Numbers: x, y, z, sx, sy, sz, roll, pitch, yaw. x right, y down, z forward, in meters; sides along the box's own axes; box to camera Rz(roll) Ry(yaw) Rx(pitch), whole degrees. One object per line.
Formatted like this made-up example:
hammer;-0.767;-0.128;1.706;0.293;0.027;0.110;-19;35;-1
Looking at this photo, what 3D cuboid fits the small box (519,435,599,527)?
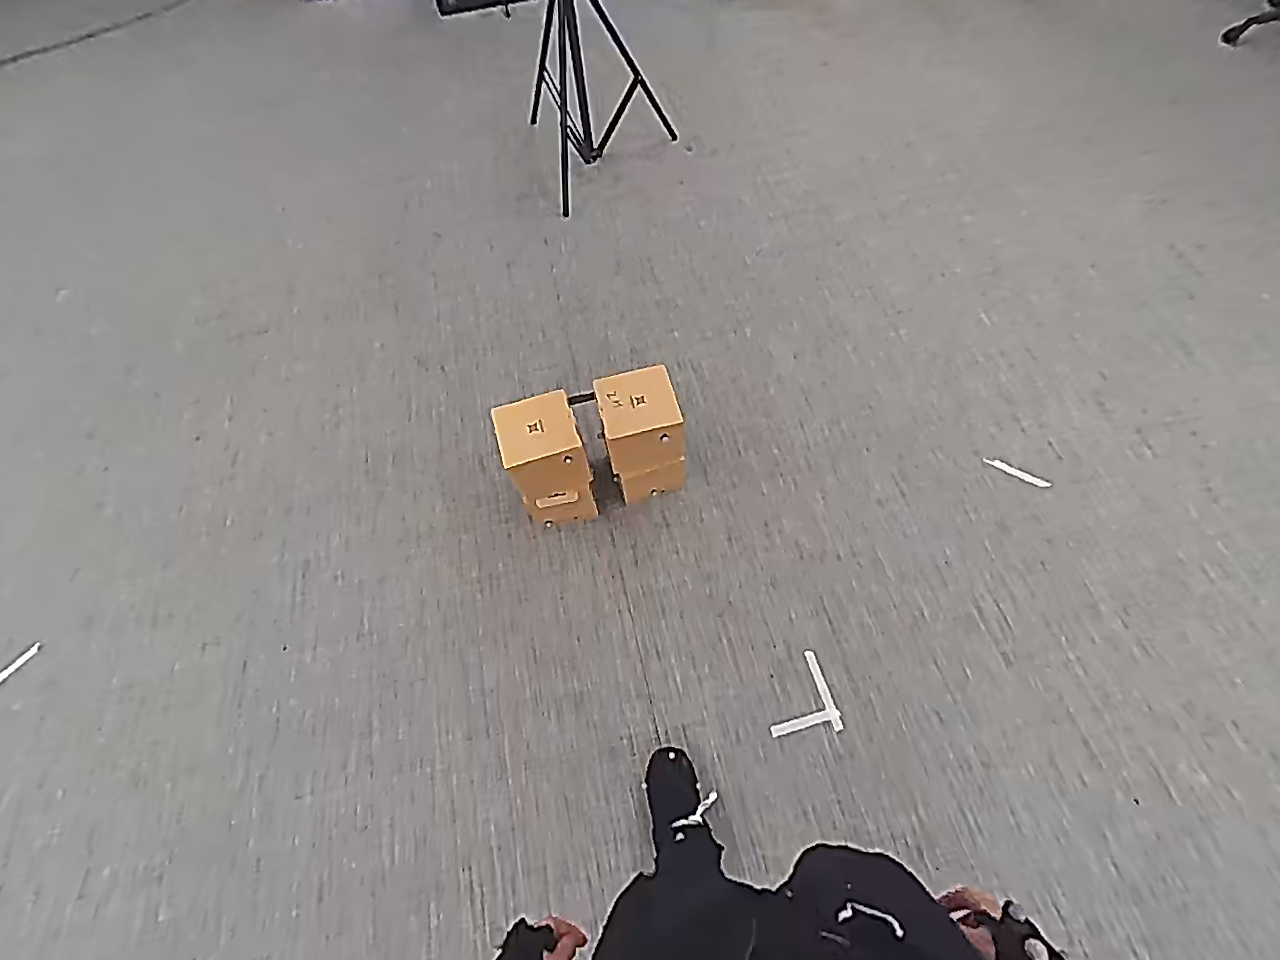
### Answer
small box;-0.206;0.012;1.405;0.168;0.176;0.179;-11;62;-2
